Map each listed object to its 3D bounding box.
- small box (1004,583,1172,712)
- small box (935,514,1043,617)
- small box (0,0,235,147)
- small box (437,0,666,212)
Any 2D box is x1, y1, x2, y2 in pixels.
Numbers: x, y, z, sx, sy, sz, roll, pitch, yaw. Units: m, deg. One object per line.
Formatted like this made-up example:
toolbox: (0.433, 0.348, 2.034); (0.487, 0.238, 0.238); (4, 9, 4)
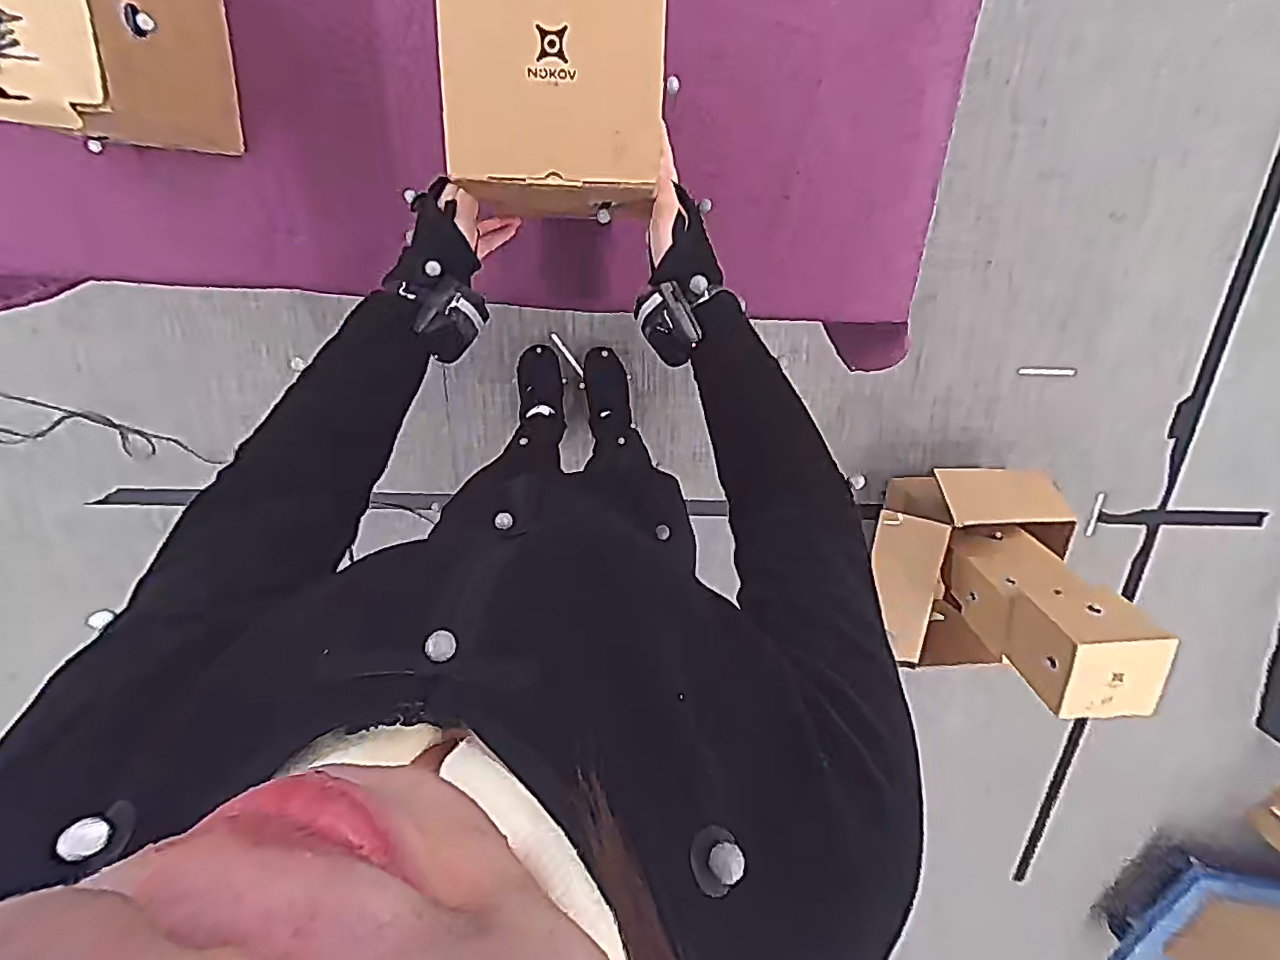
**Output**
small box: (0.833, 0.309, 1.029); (0.168, 0.176, 0.179); (-4, 114, 4)
small box: (0.859, 0.203, 1.341); (0.168, 0.176, 0.179); (-18, 113, 8)
small box: (-0.496, -0.412, 0.472); (0.168, 0.176, 0.179); (4, 109, -4)
small box: (-0.065, -0.341, 0.469); (0.168, 0.176, 0.179); (2, 107, -2)
